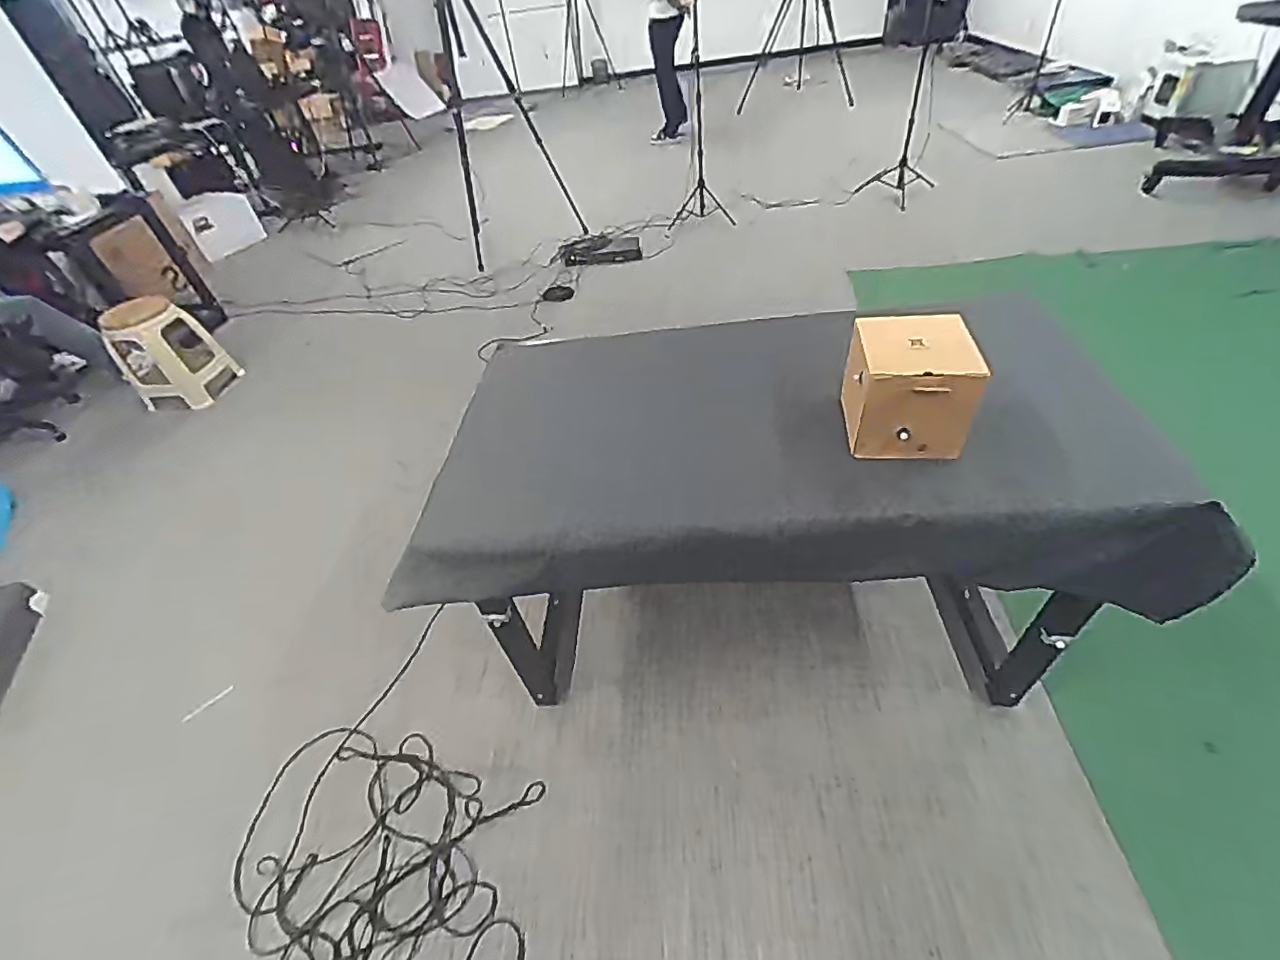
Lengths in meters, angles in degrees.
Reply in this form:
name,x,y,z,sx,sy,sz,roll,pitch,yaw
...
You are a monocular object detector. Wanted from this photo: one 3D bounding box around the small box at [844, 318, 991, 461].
name,x,y,z,sx,sy,sz,roll,pitch,yaw
small box,0.445,-0.152,0.902,0.168,0.176,0.179,1,45,10
